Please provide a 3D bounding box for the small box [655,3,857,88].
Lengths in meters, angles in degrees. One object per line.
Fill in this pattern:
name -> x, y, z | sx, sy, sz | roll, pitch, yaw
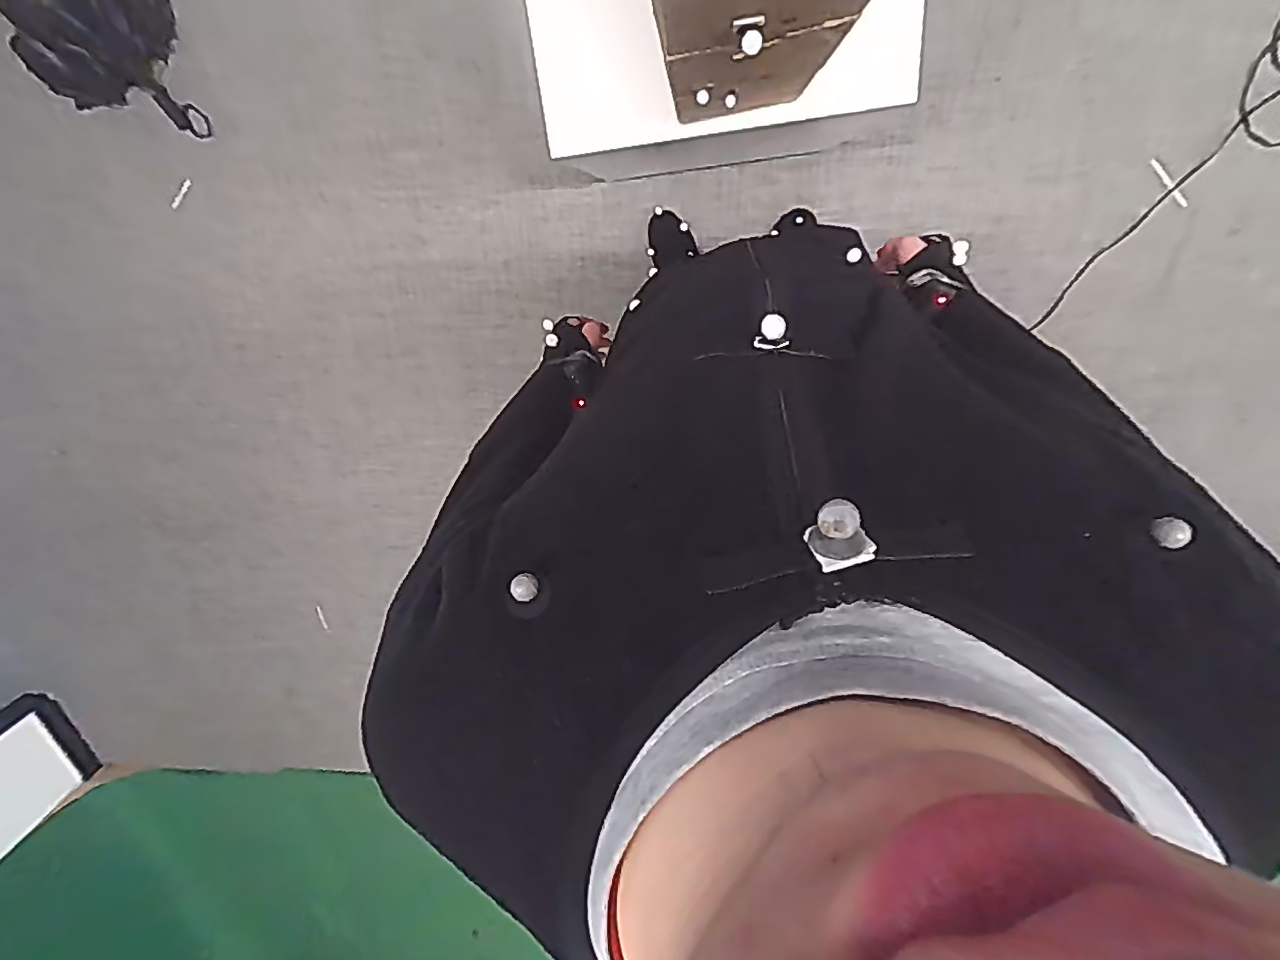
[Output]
small box -> 0.094, -0.482, 0.488 | 0.168, 0.176, 0.179 | -6, 113, 9

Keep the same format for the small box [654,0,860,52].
small box -> 0.078, -0.415, 0.340 | 0.168, 0.176, 0.179 | -7, 114, 10

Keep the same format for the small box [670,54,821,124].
small box -> 0.110, -0.551, 0.636 | 0.168, 0.176, 0.179 | -7, 114, 10
